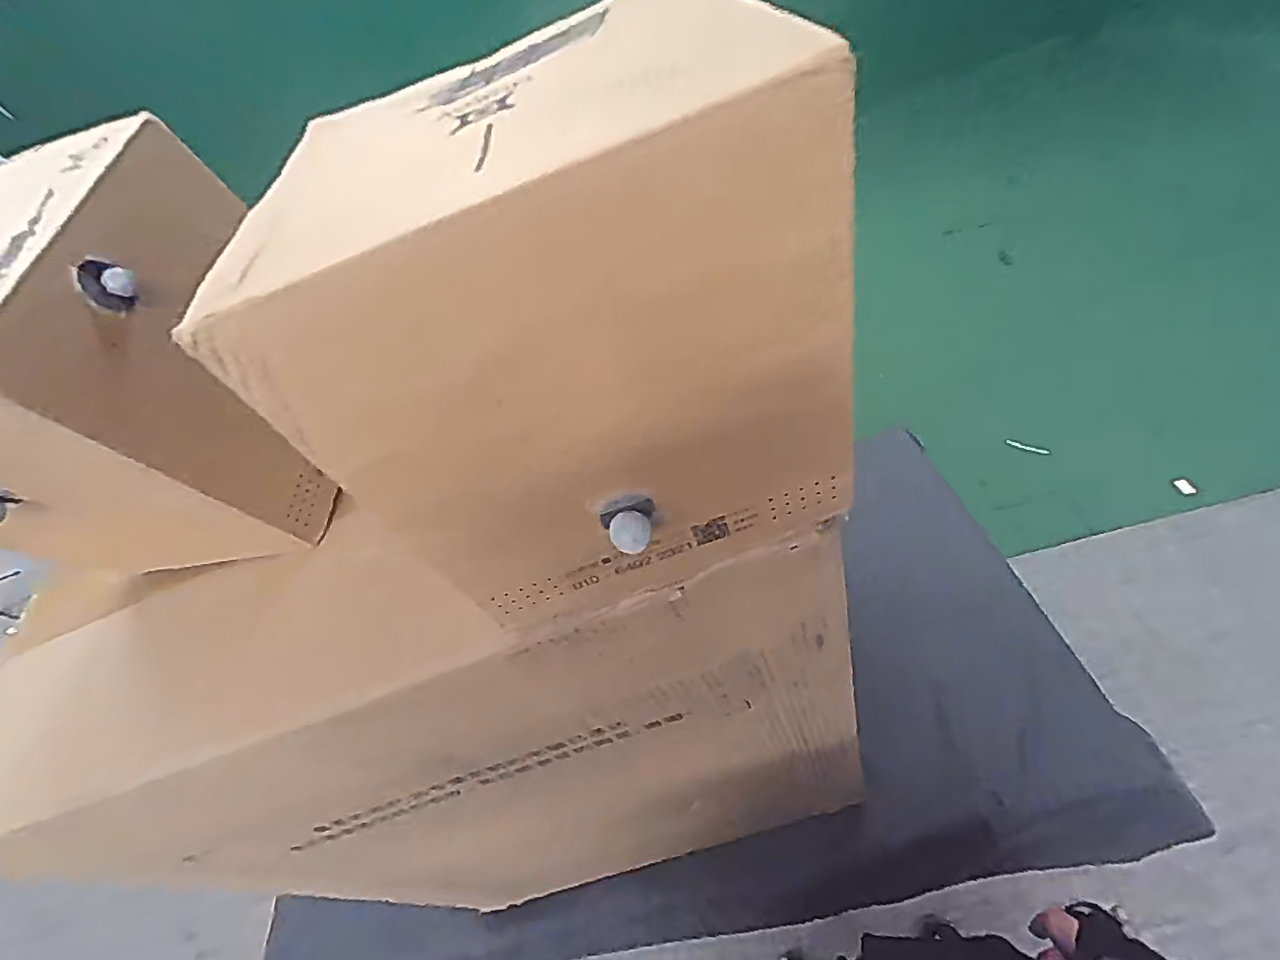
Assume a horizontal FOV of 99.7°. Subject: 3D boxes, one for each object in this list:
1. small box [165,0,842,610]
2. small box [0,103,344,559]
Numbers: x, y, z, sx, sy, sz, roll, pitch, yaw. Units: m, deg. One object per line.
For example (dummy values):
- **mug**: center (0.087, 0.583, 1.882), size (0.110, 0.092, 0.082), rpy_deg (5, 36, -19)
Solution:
- **small box**: center (-0.029, -0.073, 0.234), size (0.168, 0.176, 0.179), rpy_deg (-20, 49, 6)
- **small box**: center (-0.296, -0.062, 0.310), size (0.179, 0.176, 0.168), rpy_deg (-8, 61, 14)
